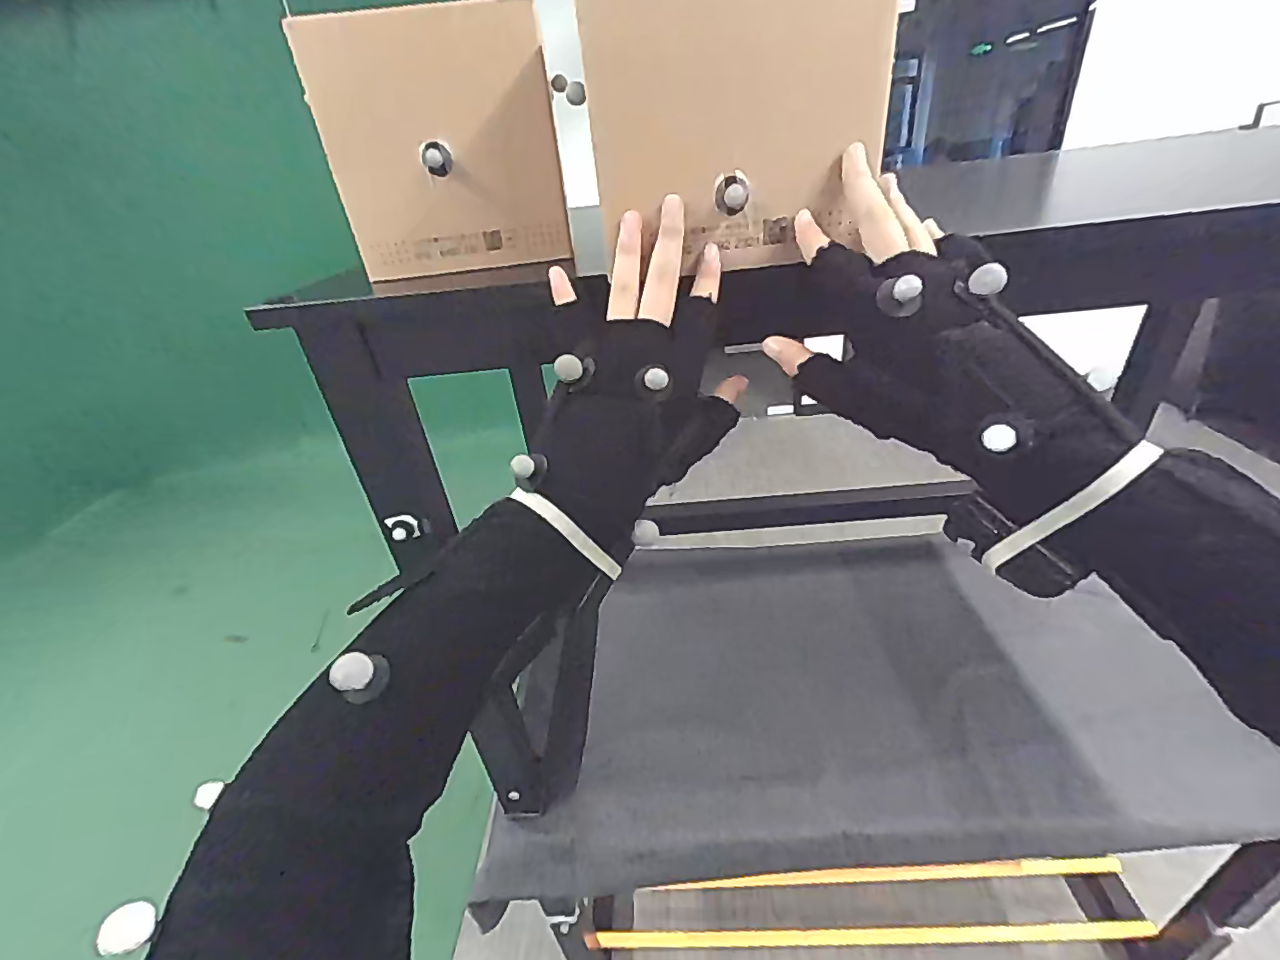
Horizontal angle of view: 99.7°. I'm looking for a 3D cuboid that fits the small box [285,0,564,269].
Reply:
[{"bbox_3d":[-0.163,-0.291,0.482,0.168,0.176,0.179,-7,30,-2],"label":"small box"}]
